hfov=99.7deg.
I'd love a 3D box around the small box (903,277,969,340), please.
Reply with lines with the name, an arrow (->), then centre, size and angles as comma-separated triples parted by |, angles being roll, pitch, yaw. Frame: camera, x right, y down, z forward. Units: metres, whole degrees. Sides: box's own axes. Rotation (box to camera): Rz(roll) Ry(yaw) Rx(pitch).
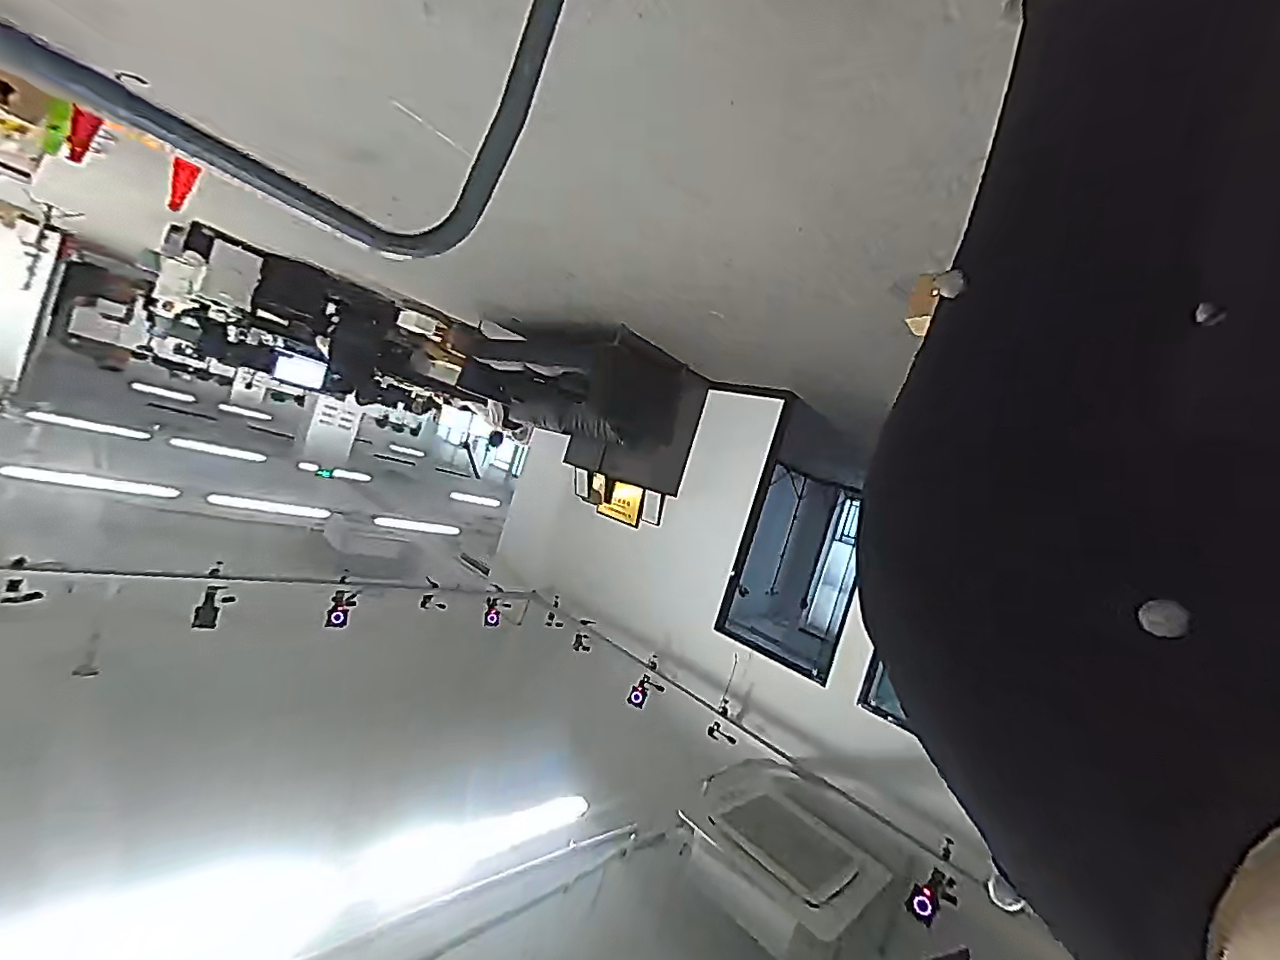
small box -> 1.097, -0.636, 2.001 | 0.168, 0.176, 0.179 | 18, 180, 39
